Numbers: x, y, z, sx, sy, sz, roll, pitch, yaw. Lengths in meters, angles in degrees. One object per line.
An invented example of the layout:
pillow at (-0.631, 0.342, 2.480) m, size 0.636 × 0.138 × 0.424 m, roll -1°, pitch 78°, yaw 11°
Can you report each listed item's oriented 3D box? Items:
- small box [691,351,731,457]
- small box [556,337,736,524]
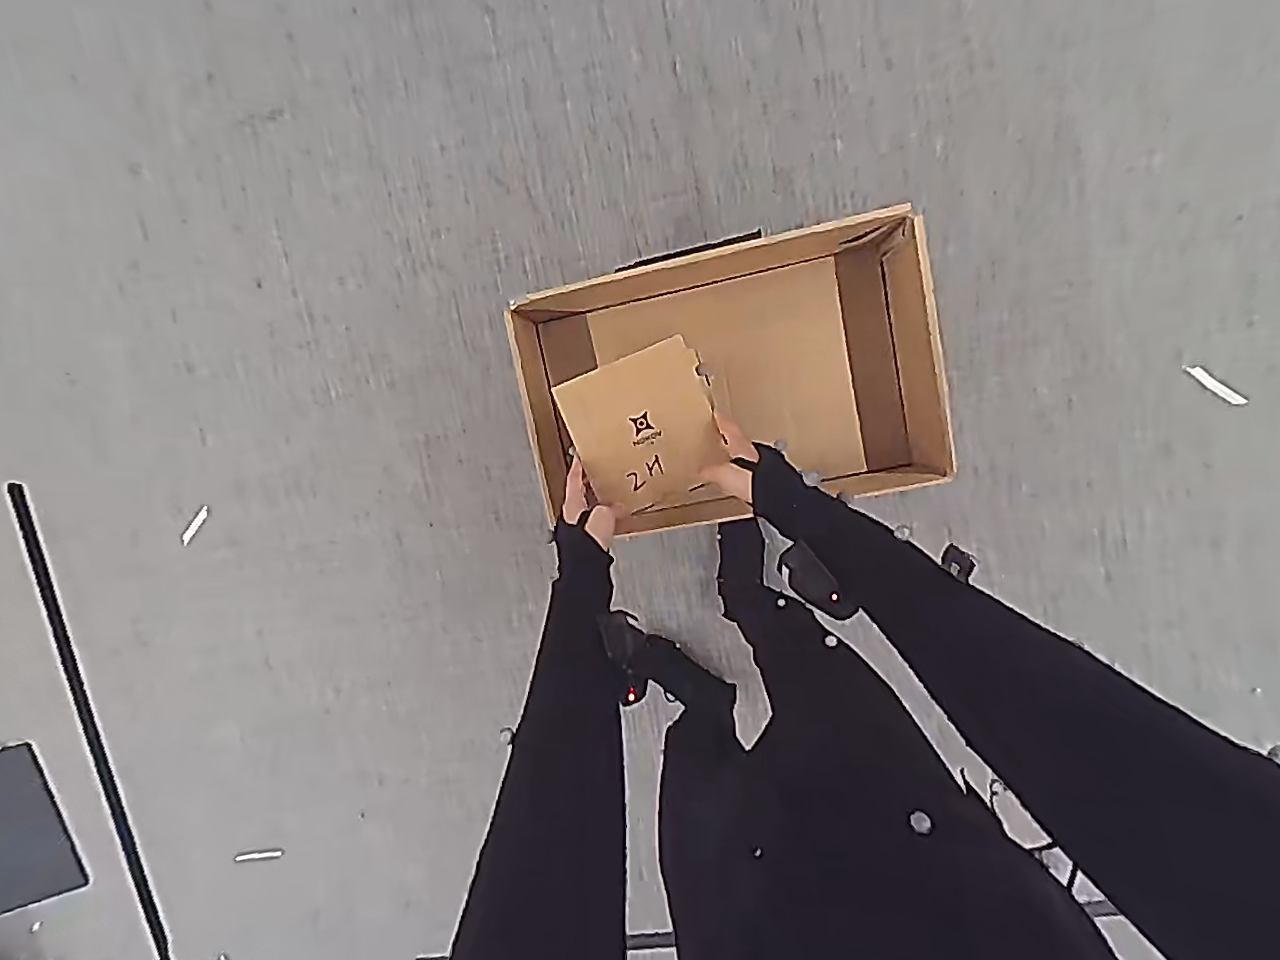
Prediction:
small box at (0.033, -0.096, 0.868) m, size 0.179 × 0.176 × 0.168 m, roll -17°, pitch 95°, yaw 6°
small box at (0.009, -0.063, 0.707) m, size 0.168 × 0.176 × 0.179 m, roll -22°, pitch 95°, yaw 5°
